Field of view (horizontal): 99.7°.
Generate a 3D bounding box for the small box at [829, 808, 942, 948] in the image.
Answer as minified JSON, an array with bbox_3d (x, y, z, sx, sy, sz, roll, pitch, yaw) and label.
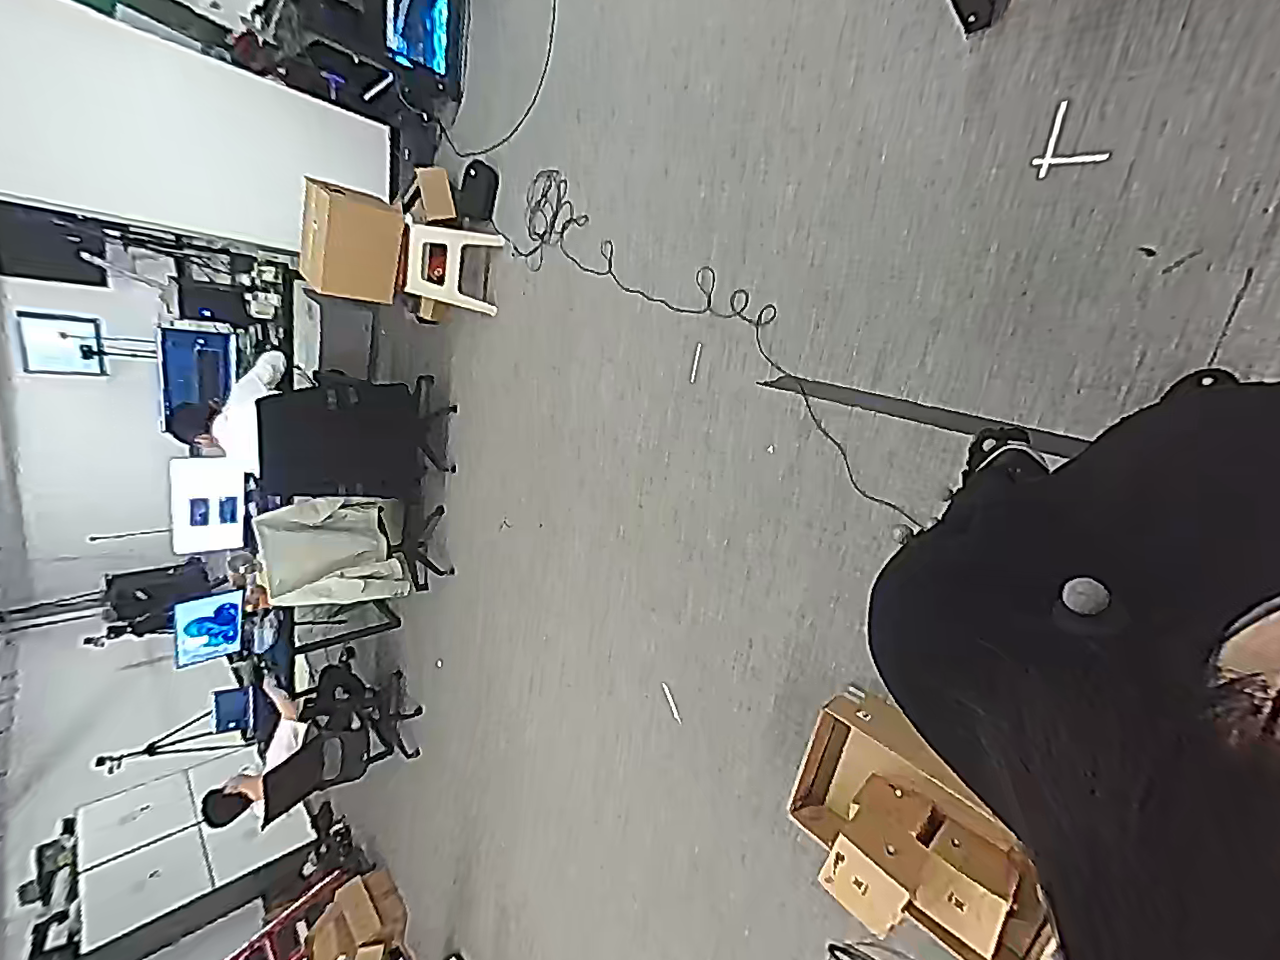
[{"bbox_3d":[0.595,0.946,1.304,0.179,0.176,0.168,29,112,37],"label":"small box"}]
